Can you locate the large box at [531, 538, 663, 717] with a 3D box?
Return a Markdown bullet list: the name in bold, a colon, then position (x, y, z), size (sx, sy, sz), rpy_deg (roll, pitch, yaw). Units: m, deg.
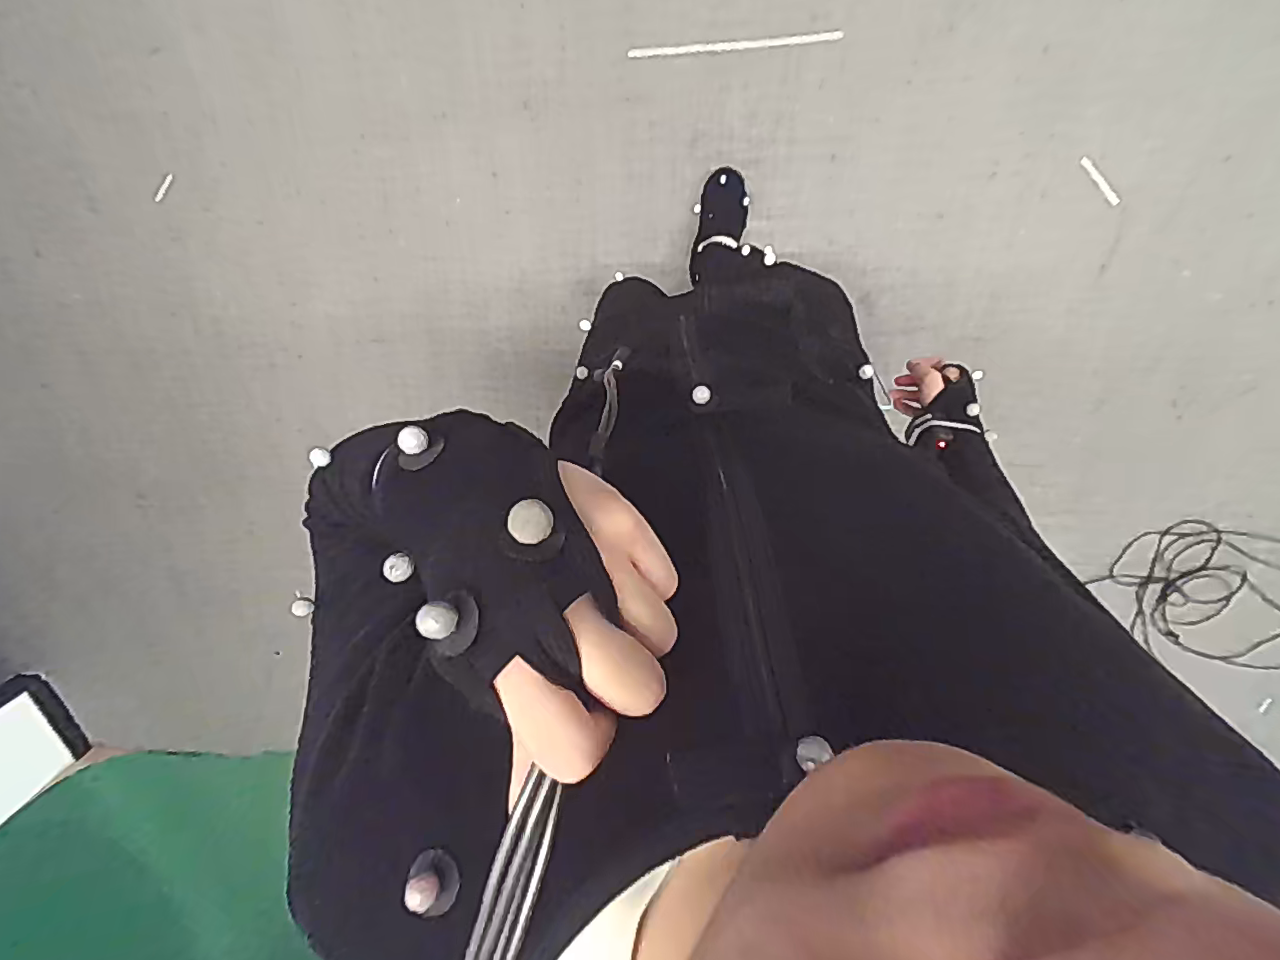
- **large box**: position (-0.099, 0.415, 1.563), size (0.320, 0.320, 0.408), rpy_deg (-1, 115, 6)
